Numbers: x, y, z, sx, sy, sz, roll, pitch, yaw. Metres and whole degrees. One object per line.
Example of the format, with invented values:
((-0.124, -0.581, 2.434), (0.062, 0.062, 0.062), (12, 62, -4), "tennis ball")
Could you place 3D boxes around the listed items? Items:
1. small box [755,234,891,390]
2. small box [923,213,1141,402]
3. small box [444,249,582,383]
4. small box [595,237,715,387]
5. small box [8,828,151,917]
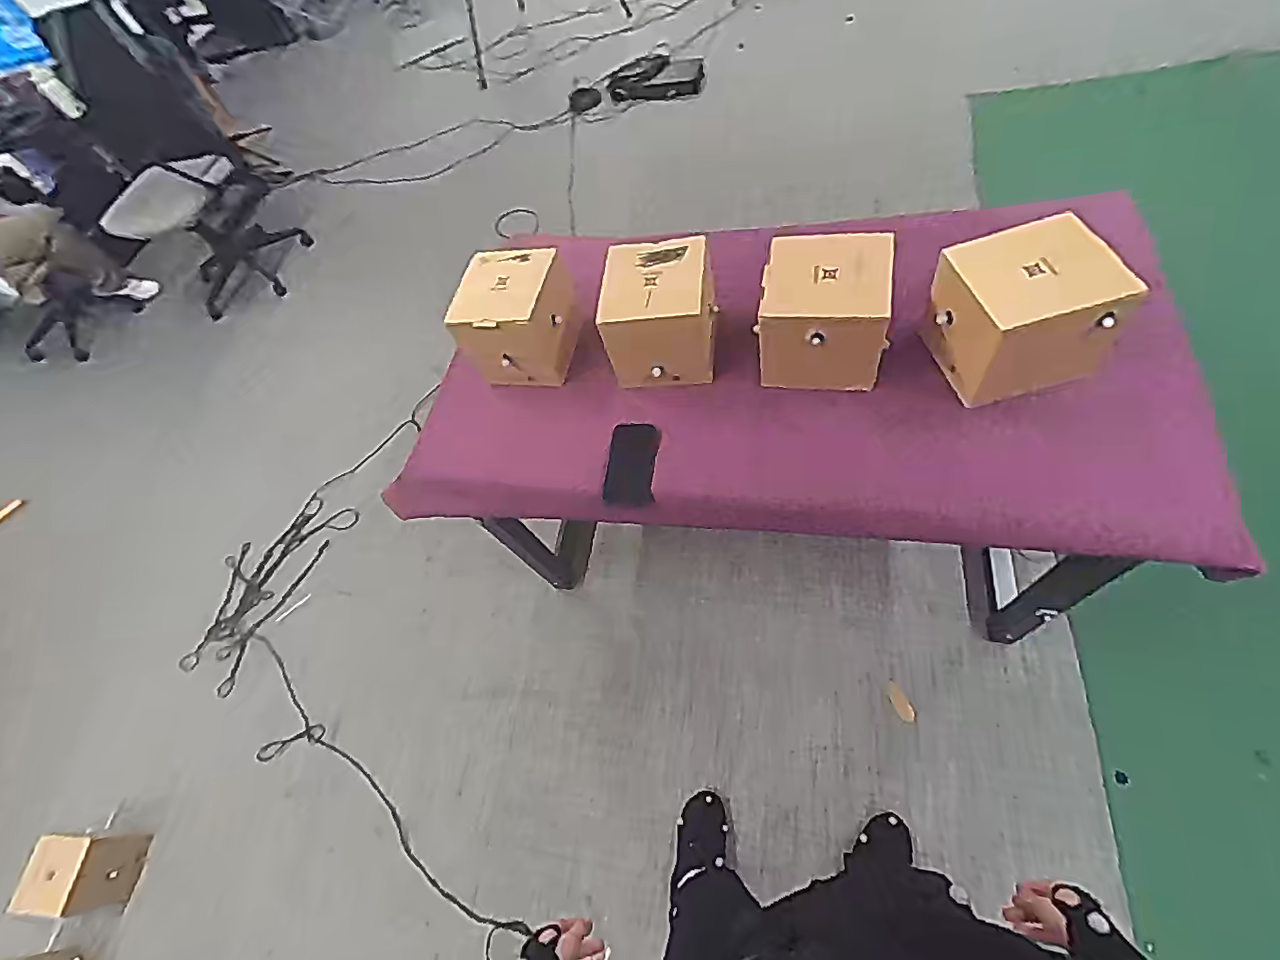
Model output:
((0.282, -0.256, 0.846), (0.179, 0.176, 0.168), (7, 64, 18), "small box")
((0.528, -0.235, 0.768), (0.179, 0.176, 0.168), (-15, 58, 6), "small box")
((-0.222, -0.295, 0.998), (0.168, 0.176, 0.179), (4, 63, 17), "small box")
((0.035, -0.280, 0.923), (0.168, 0.176, 0.179), (-1, 62, 15), "small box")
((-1.467, 1.029, 1.430), (0.179, 0.176, 0.168), (-5, 61, 12), "small box")
